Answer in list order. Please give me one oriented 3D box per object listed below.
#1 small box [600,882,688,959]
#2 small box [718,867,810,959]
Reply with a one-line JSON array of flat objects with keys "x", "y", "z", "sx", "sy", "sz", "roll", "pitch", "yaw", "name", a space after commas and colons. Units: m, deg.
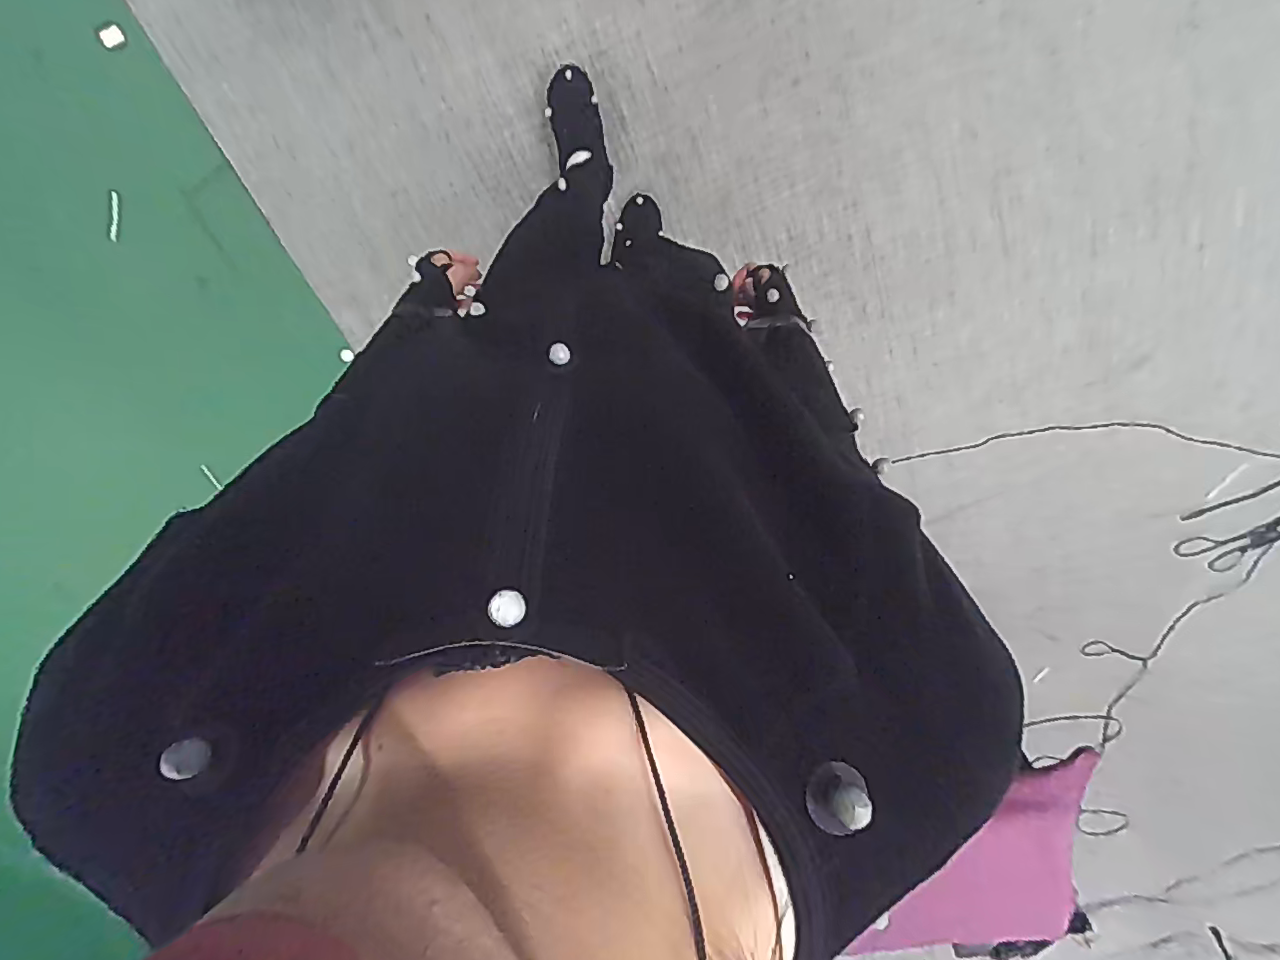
[{"x": 0.016, "y": 1.156, "z": 1.361, "sx": 0.179, "sy": 0.176, "sz": 0.168, "roll": -22, "pitch": 117, "yaw": 12, "name": "small box"}, {"x": 0.302, "y": 1.087, "z": 1.320, "sx": 0.168, "sy": 0.176, "sz": 0.179, "roll": -24, "pitch": 117, "yaw": 13, "name": "small box"}]
